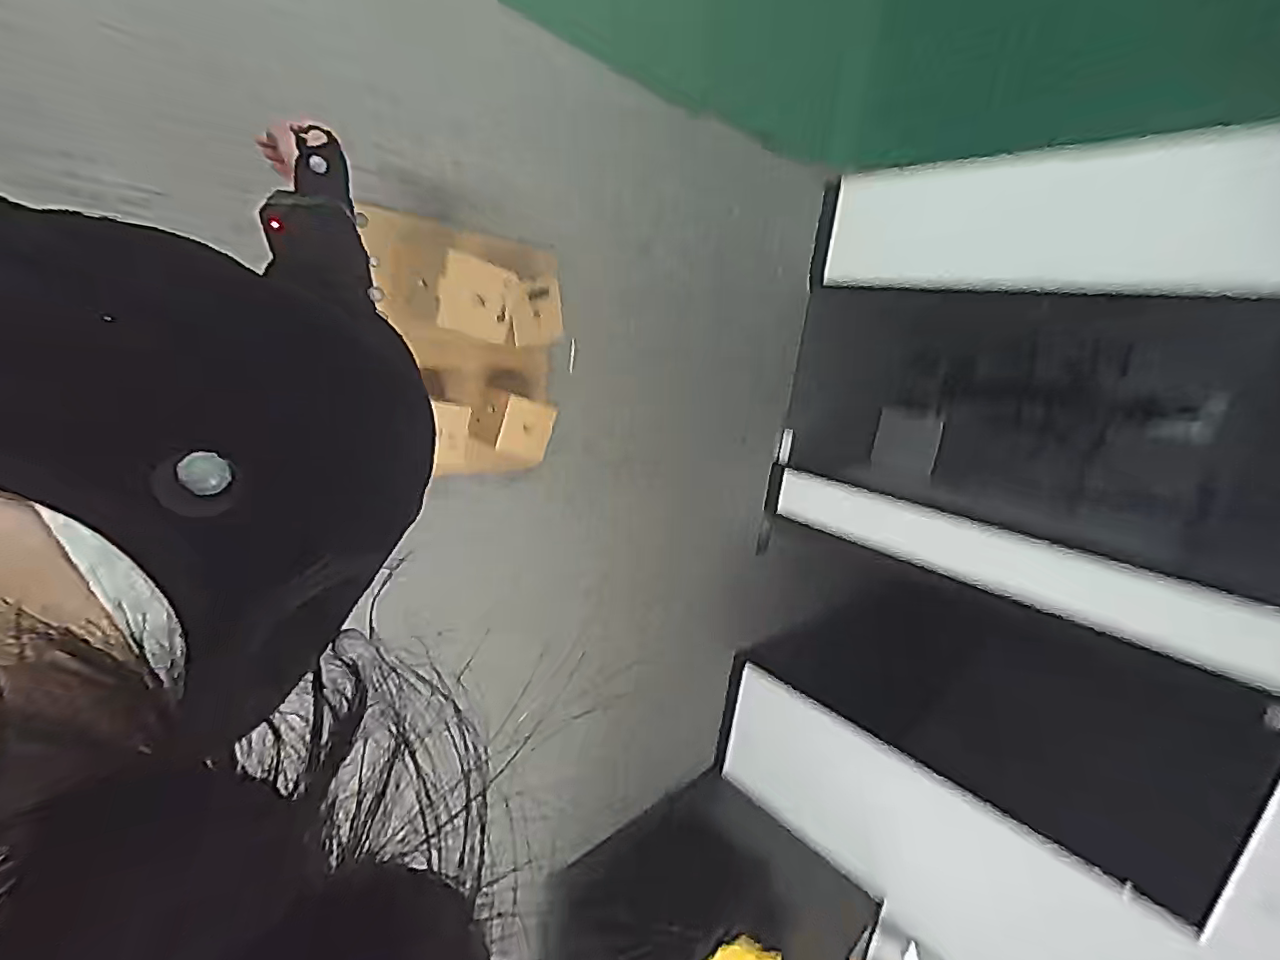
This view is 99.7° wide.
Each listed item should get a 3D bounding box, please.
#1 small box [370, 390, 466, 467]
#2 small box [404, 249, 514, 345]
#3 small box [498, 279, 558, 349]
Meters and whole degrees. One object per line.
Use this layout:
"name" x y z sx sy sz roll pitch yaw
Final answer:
"small box" -0.599 -0.140 1.450 0.179 0.176 0.168 4 104 -48
"small box" -0.429 -0.427 1.268 0.179 0.176 0.168 6 102 -47
"small box" -0.358 -0.487 1.565 0.168 0.176 0.179 -23 123 -39
